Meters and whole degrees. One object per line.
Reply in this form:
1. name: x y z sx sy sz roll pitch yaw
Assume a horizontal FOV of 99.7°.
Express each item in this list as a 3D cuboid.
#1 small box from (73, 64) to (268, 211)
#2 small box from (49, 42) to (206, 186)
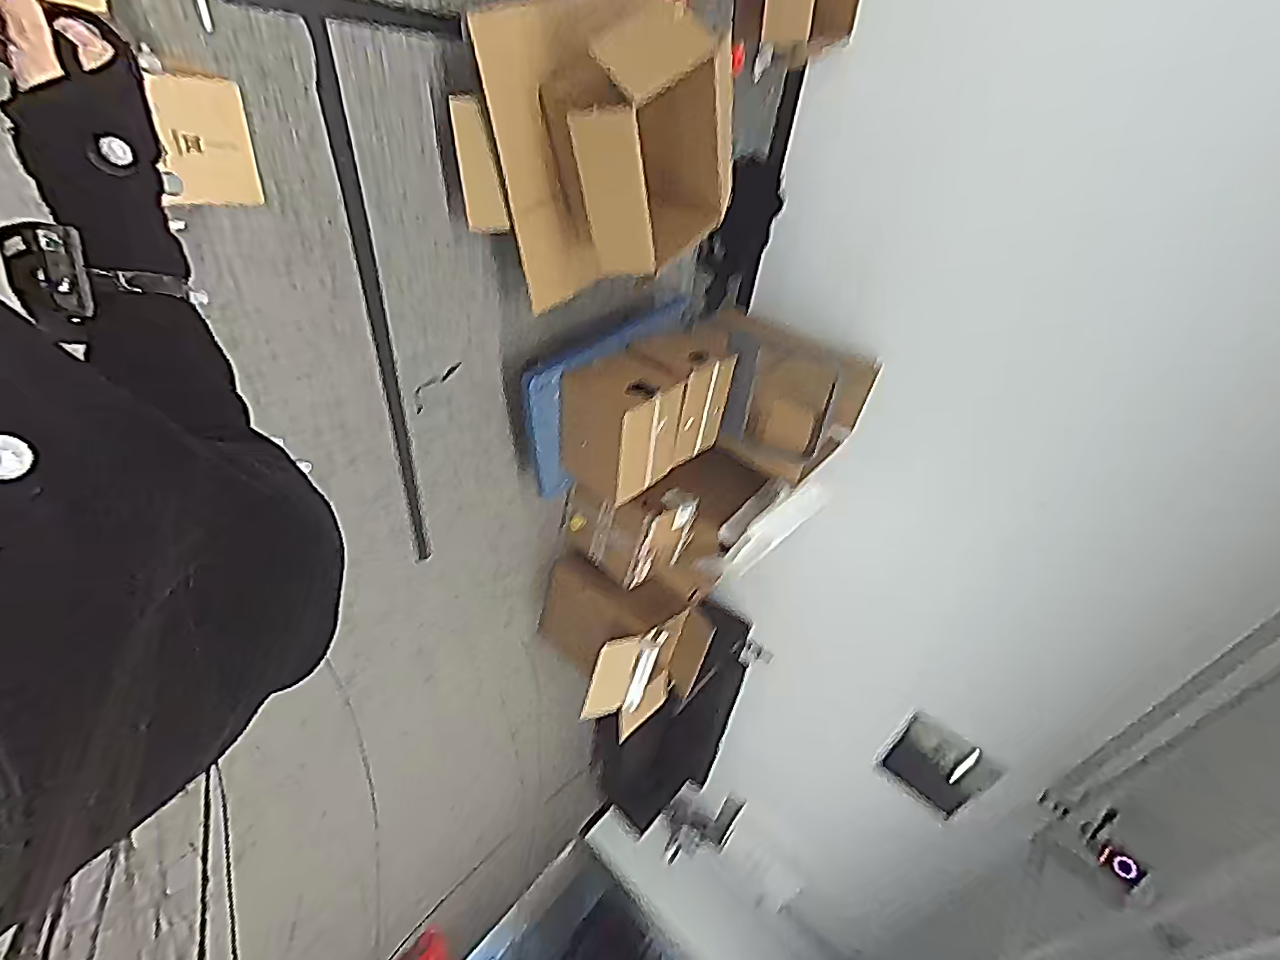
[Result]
1. small box: -0.722 -0.523 0.834 0.179 0.176 0.168 -29 141 -43
2. small box: -0.840 -0.606 0.914 0.168 0.176 0.179 -26 140 -43
